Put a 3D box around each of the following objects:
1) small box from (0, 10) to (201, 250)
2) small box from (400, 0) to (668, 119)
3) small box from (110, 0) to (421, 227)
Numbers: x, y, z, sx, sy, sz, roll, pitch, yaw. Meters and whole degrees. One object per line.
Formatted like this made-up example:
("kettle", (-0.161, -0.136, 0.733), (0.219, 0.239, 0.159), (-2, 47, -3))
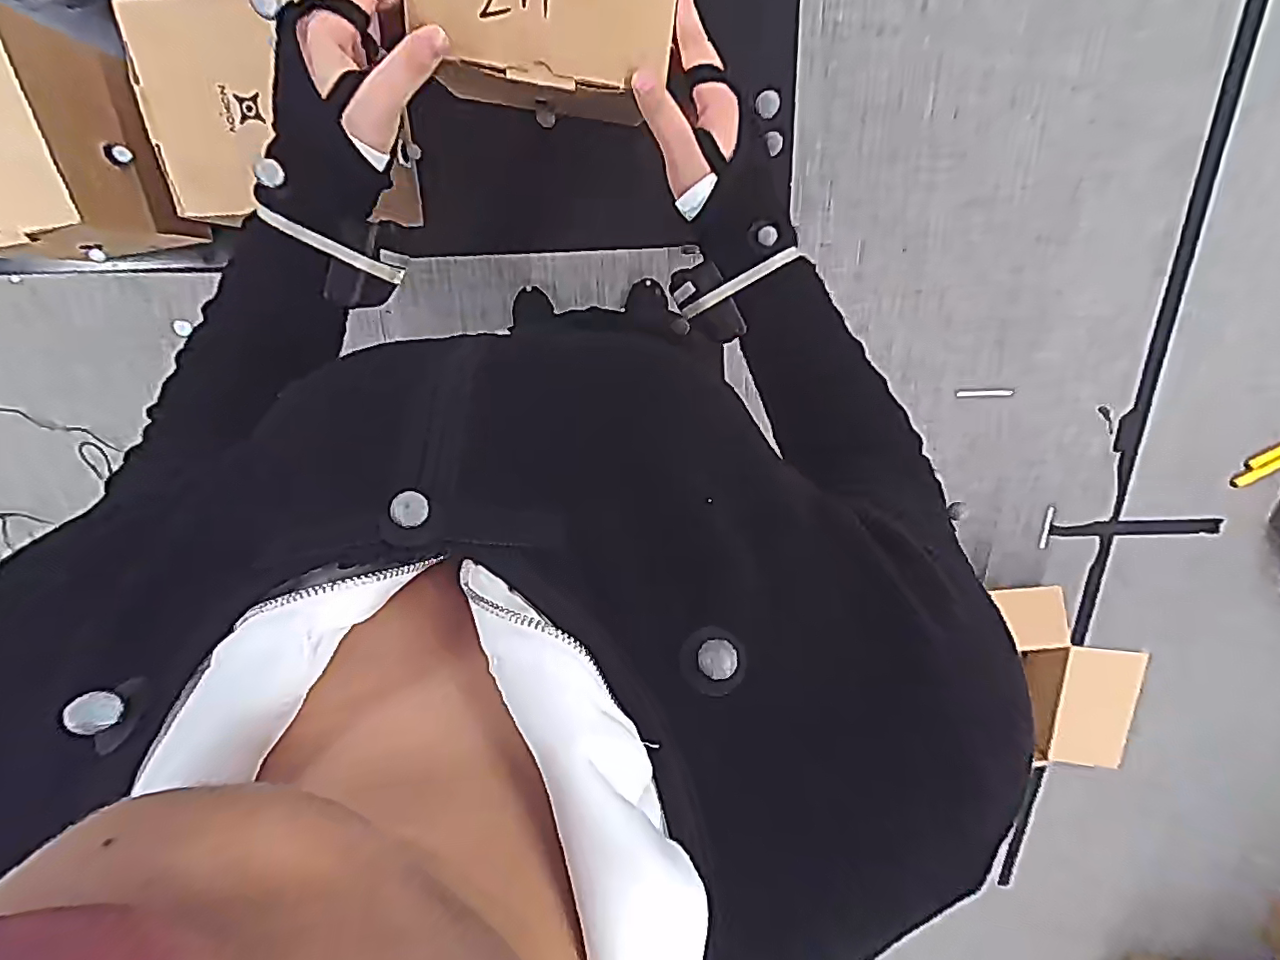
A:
("small box", (-0.604, -0.334, 0.545), (0.168, 0.176, 0.179), (-8, 110, 2))
("small box", (-0.067, -0.379, 0.382), (0.168, 0.176, 0.179), (3, 118, -9))
("small box", (-0.348, -0.355, 0.544), (0.179, 0.176, 0.168), (-3, 111, -1))
